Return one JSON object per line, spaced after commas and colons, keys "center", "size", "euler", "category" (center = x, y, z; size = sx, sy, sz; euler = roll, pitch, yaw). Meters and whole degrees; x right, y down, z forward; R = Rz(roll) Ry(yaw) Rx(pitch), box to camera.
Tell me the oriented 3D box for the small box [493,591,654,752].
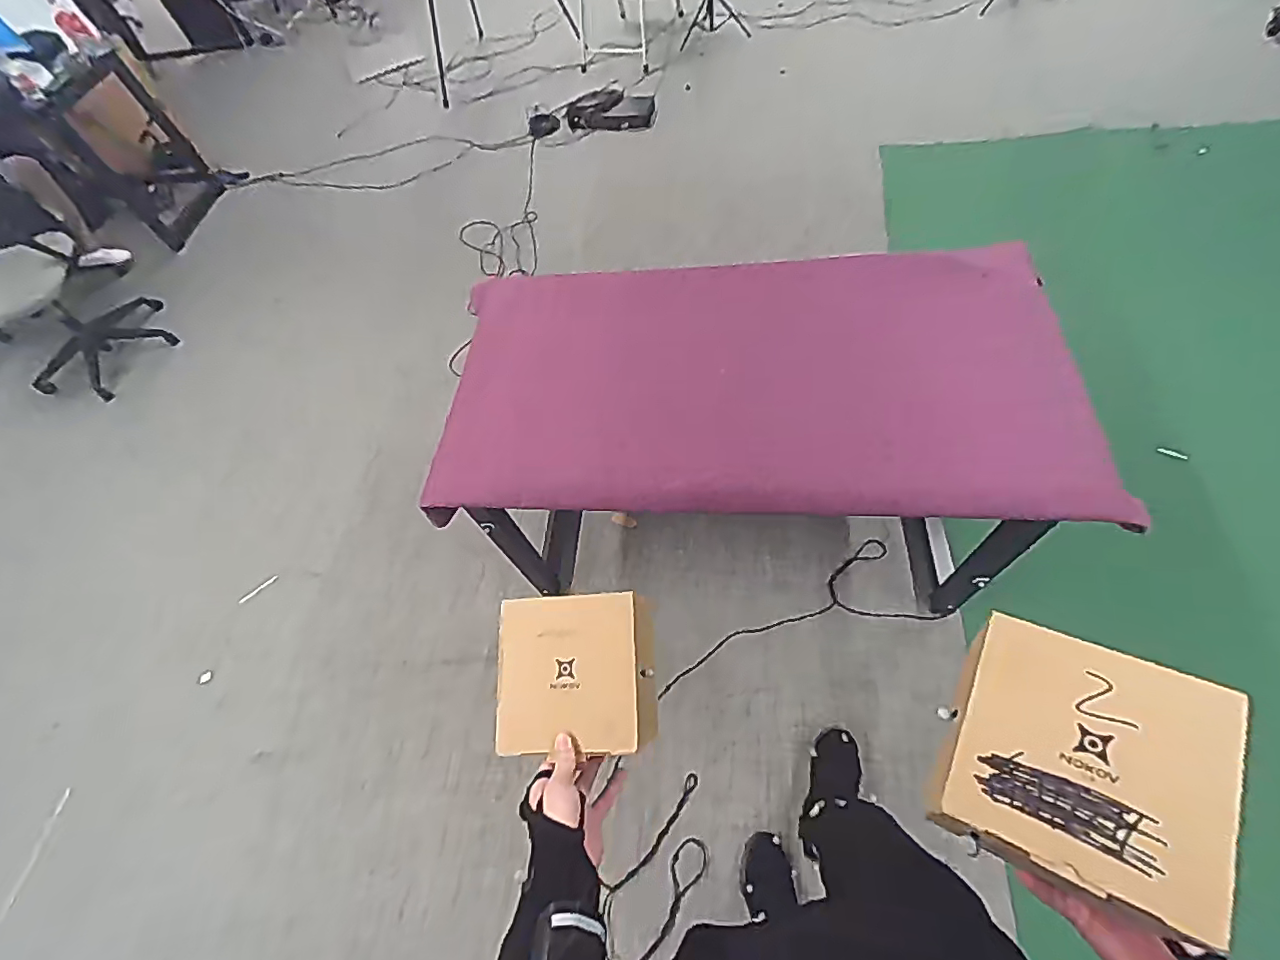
{"center": [-0.075, 0.241, 0.700], "size": [0.168, 0.176, 0.179], "euler": [-4, 72, 8], "category": "small box"}
